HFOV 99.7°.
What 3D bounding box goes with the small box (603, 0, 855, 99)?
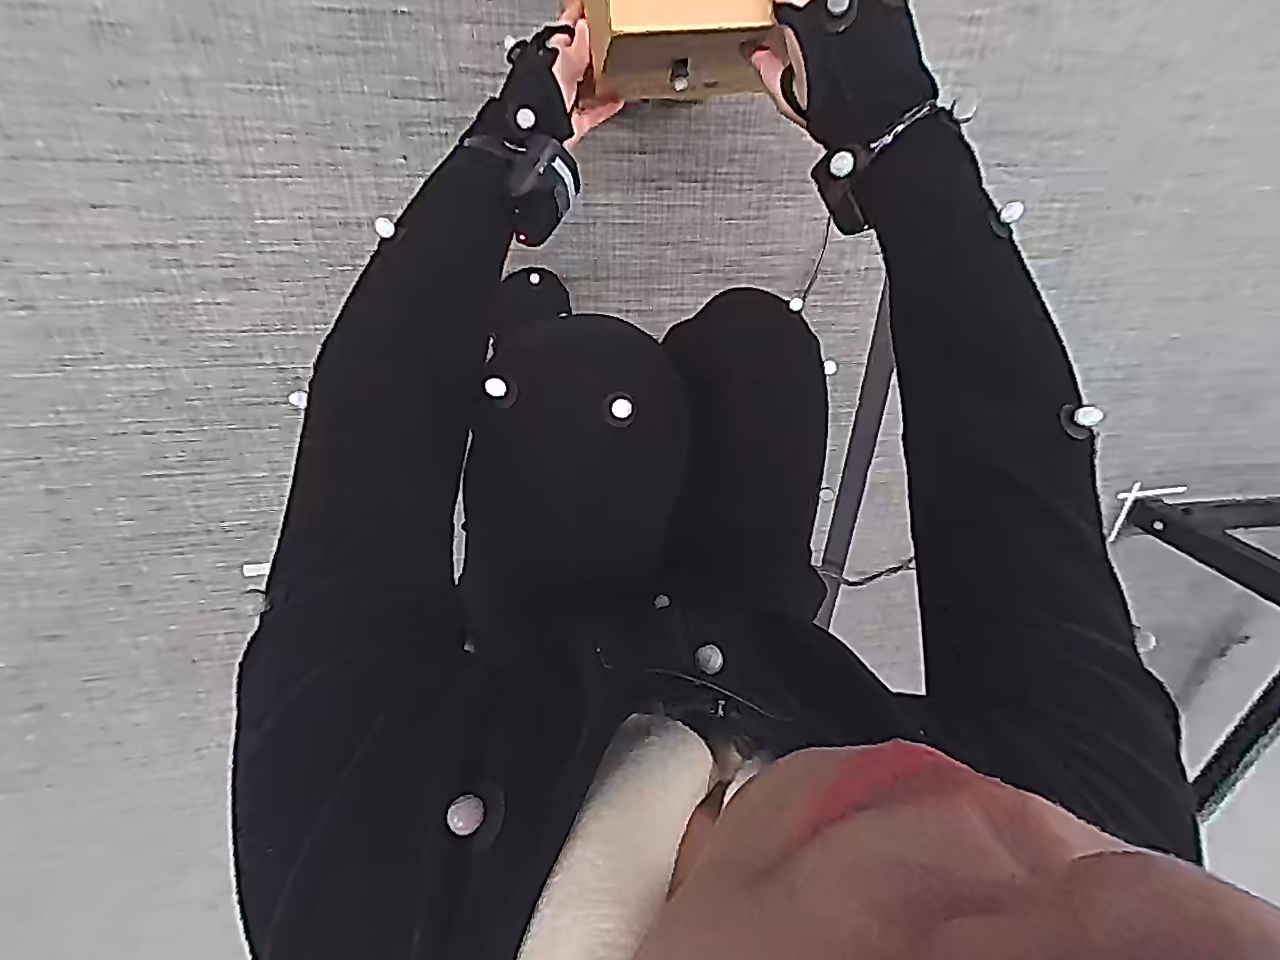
[{"bbox_3d":[0.051,-0.398,0.347,0.179,0.176,0.168,-7,94,12],"label":"small box"}]
